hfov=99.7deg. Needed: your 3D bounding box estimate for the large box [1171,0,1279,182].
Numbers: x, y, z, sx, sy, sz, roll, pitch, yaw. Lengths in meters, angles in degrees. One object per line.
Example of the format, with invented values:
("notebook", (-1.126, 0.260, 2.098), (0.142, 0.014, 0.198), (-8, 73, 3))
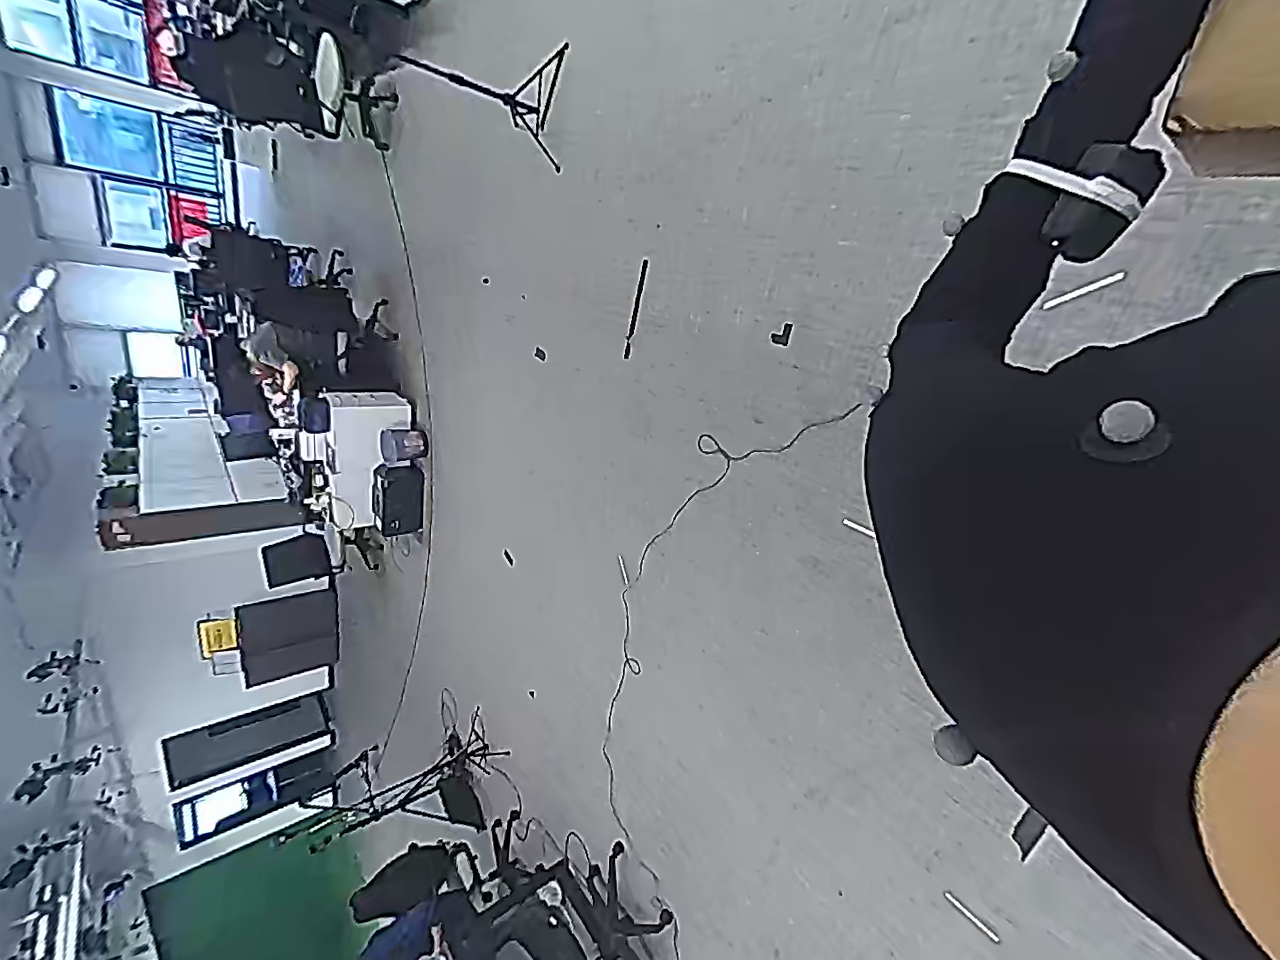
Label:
("large box", (0.593, -0.343, 0.264), (0.408, 0.320, 0.320), (24, 123, 40))
